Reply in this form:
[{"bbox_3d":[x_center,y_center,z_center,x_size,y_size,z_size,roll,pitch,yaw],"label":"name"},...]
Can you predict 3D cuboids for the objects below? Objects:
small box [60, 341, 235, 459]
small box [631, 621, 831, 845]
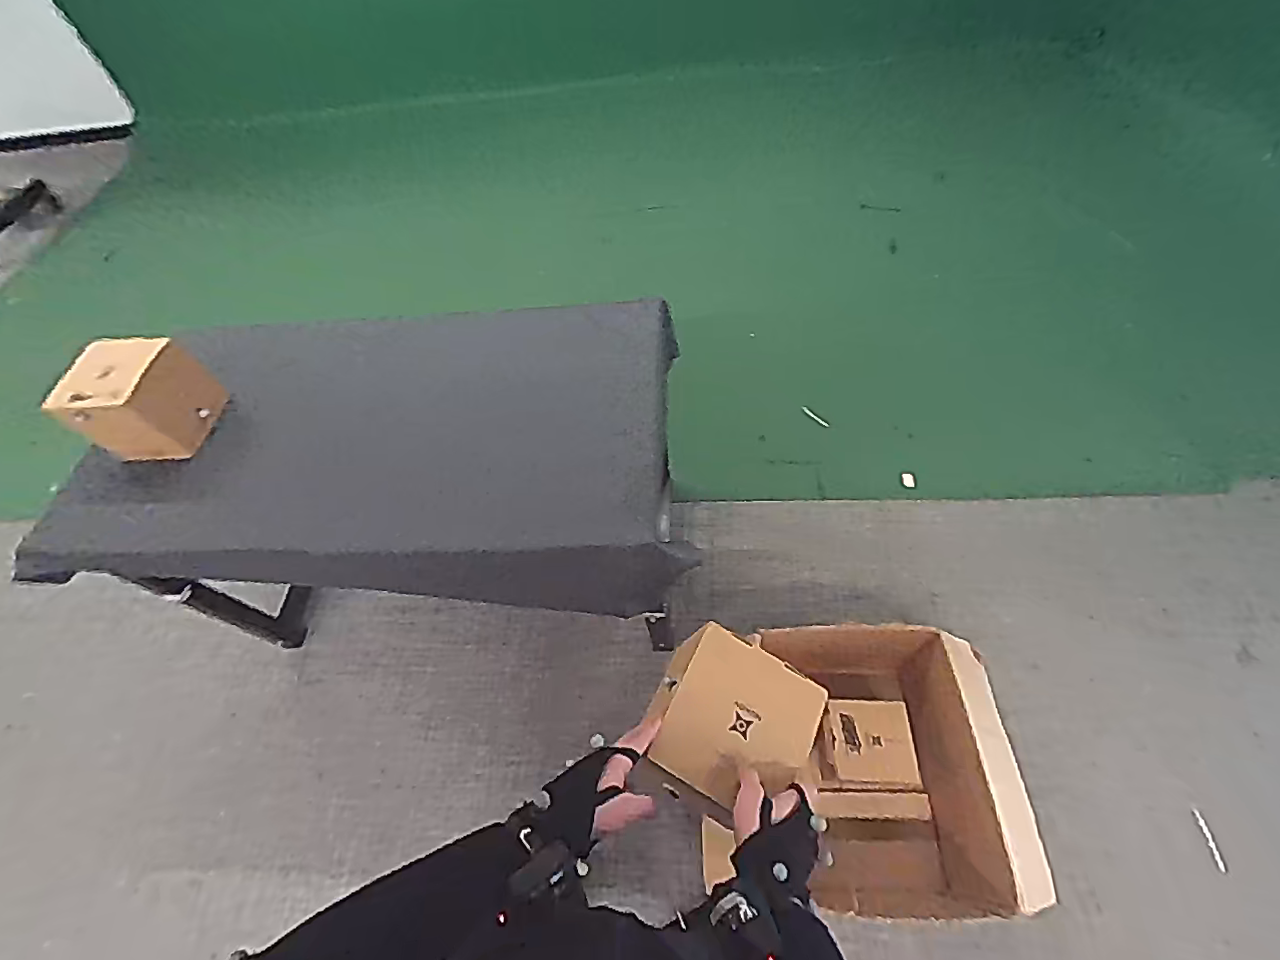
[{"bbox_3d":[-0.980,-0.162,1.101,0.168,0.176,0.179,0,56,6],"label":"small box"},{"bbox_3d":[0.102,0.308,0.668,0.168,0.176,0.179,29,60,6],"label":"small box"}]
